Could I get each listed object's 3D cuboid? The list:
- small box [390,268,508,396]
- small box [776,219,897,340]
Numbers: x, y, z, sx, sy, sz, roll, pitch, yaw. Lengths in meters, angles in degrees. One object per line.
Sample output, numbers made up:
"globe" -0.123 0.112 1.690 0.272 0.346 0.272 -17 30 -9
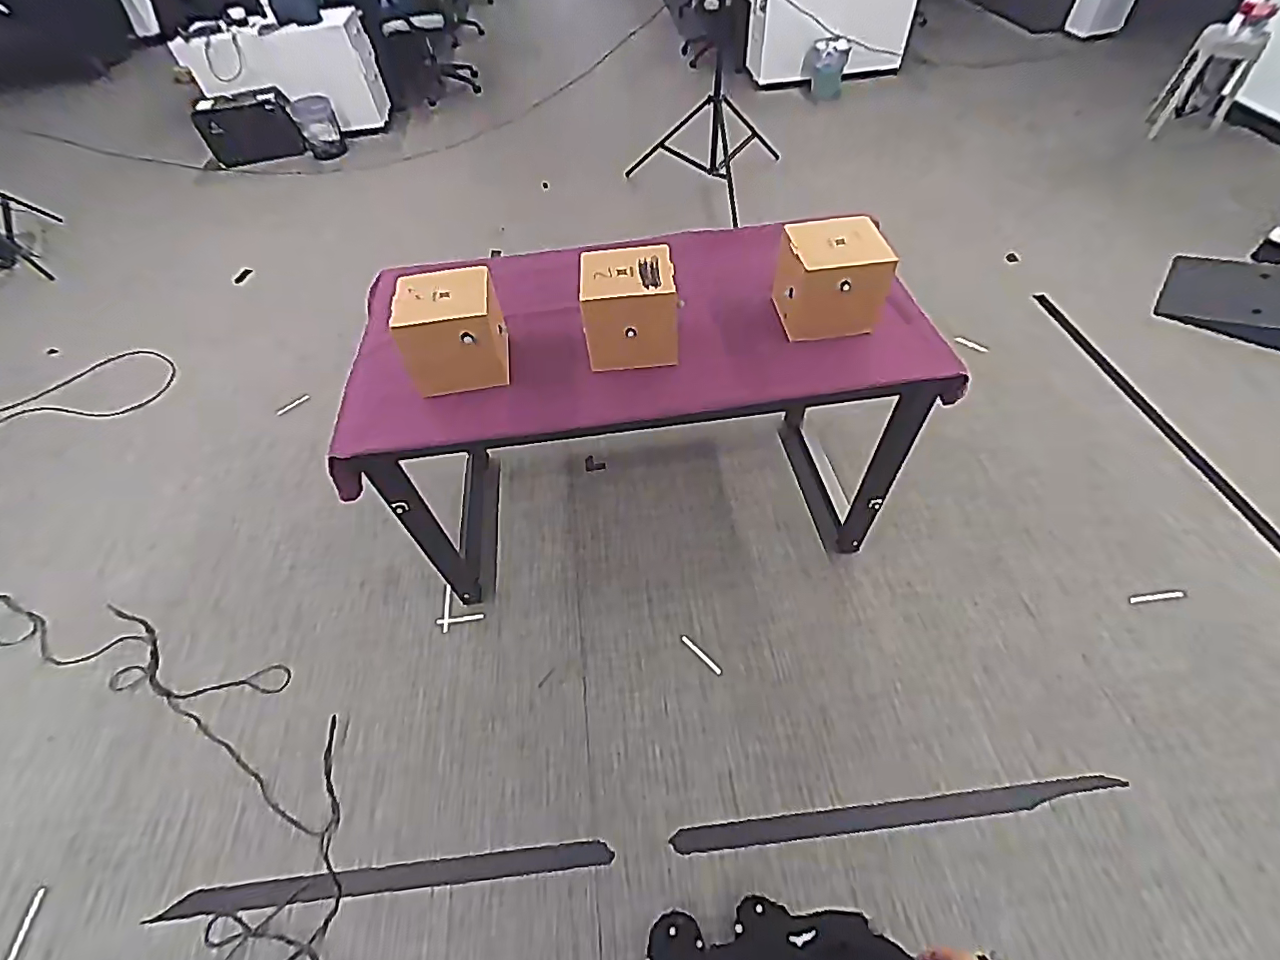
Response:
"small box" -0.361 -0.287 1.062 0.179 0.176 0.168 -10 51 -3
"small box" 0.383 -0.402 1.097 0.179 0.176 0.168 -6 53 -1
